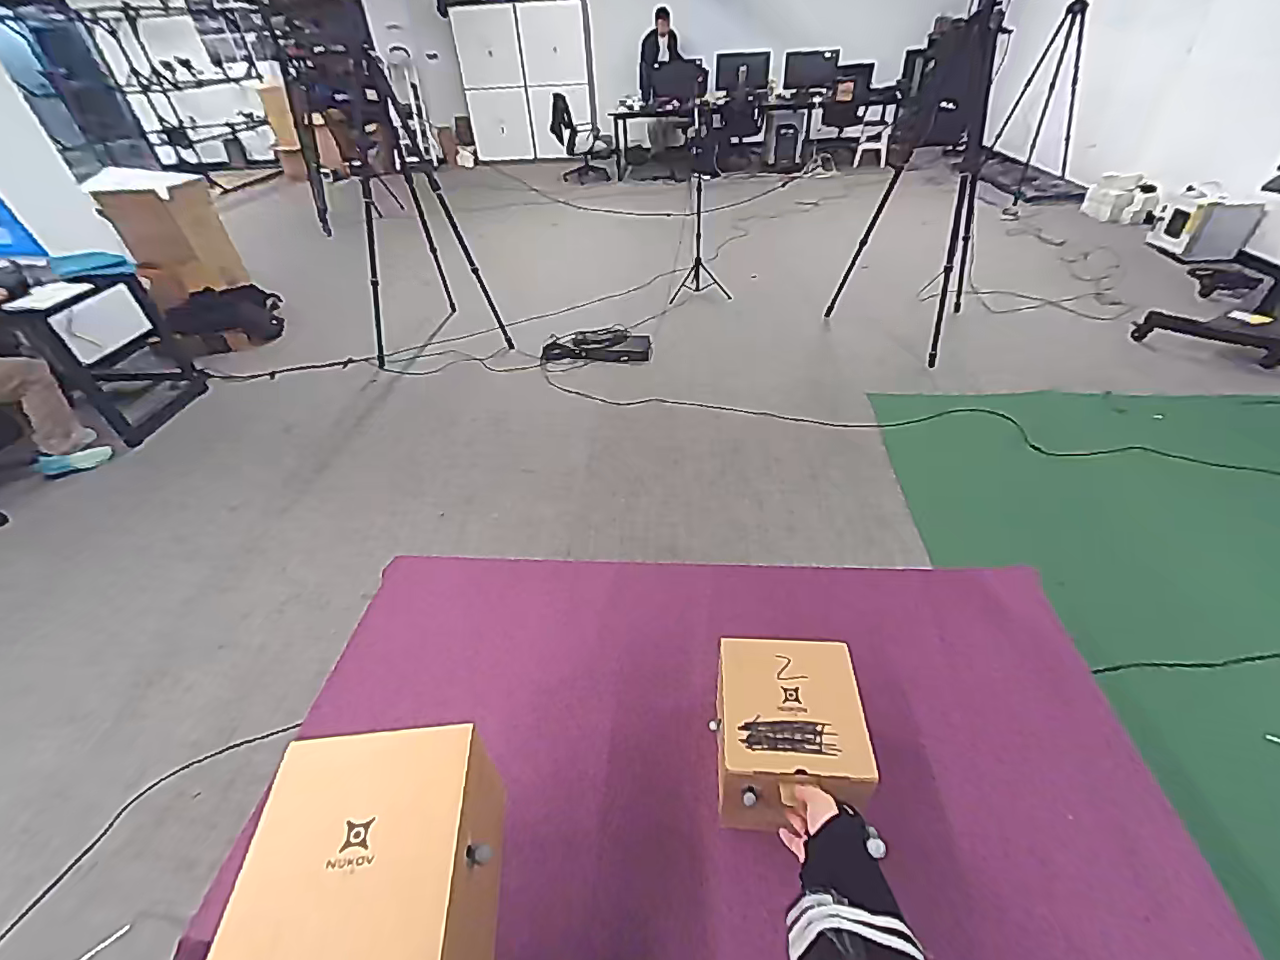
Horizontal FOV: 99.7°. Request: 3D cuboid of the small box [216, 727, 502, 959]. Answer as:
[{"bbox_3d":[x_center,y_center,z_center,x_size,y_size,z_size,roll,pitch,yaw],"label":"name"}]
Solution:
[{"bbox_3d":[-0.227,0.355,0.495,0.168,0.176,0.179,-4,42,-3],"label":"small box"}]
